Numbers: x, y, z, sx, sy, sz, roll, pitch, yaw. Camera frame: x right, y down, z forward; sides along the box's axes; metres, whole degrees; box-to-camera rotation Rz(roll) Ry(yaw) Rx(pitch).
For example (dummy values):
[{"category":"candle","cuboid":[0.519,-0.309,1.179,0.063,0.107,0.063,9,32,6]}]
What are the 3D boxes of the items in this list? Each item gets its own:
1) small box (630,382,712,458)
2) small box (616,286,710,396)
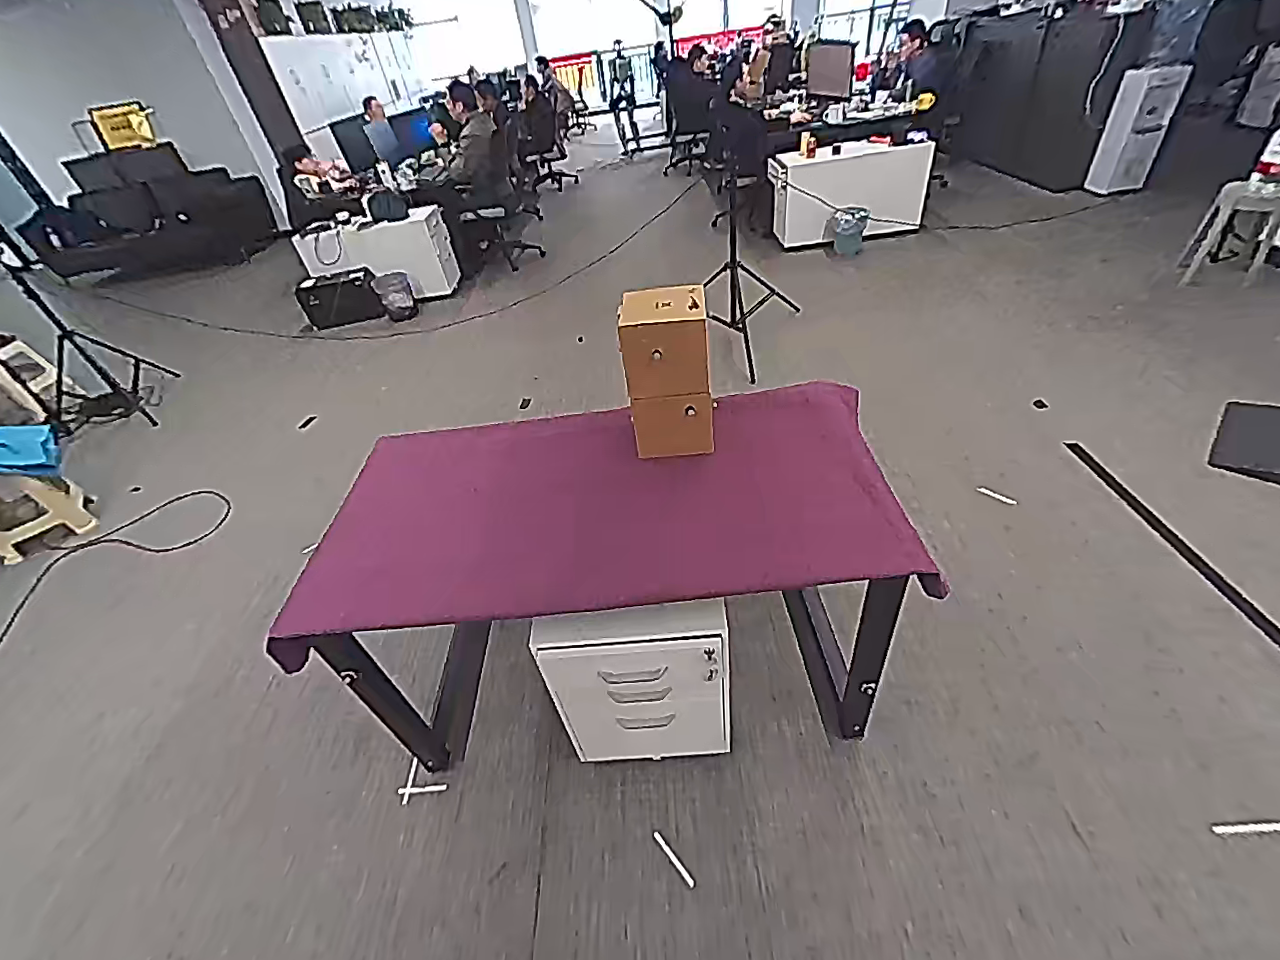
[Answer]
[{"category":"small box","cuboid":[0.078,-0.168,1.260,0.179,0.176,0.168,-5,41,7]},{"category":"small box","cuboid":[0.055,-0.292,1.154,0.179,0.176,0.168,-4,42,8]}]
